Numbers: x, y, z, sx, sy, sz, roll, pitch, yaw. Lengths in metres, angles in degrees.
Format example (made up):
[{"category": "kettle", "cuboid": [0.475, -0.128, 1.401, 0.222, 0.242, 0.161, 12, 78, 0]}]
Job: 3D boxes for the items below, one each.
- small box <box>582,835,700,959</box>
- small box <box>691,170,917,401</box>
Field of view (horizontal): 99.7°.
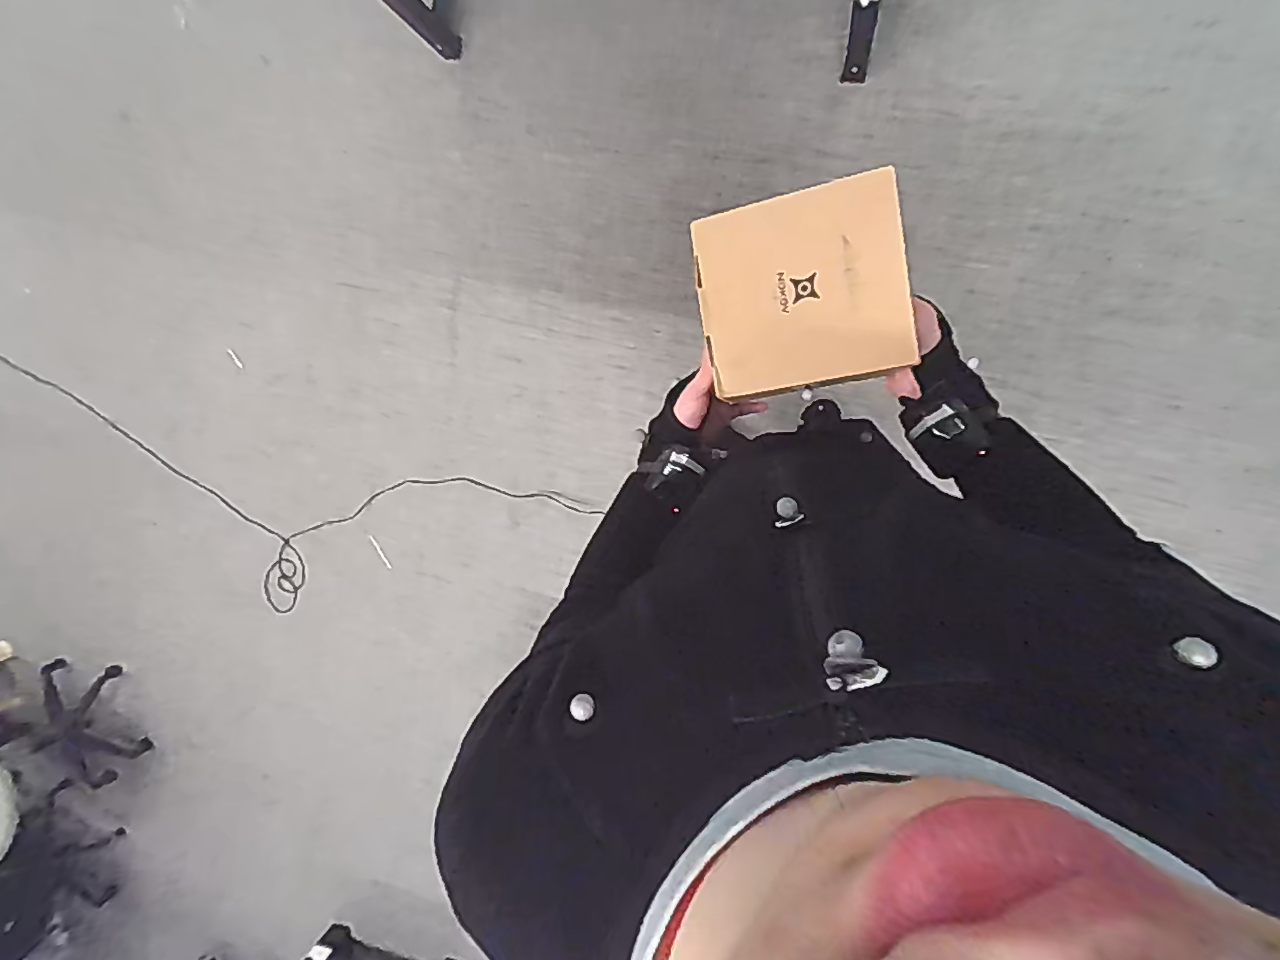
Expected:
[{"category": "small box", "cuboid": [0.007, 0.844, 1.058, 0.179, 0.176, 0.168, 13, 103, 13]}, {"category": "small box", "cuboid": [0.163, -0.176, 0.556, 0.179, 0.176, 0.168, -9, 95, 16]}]
